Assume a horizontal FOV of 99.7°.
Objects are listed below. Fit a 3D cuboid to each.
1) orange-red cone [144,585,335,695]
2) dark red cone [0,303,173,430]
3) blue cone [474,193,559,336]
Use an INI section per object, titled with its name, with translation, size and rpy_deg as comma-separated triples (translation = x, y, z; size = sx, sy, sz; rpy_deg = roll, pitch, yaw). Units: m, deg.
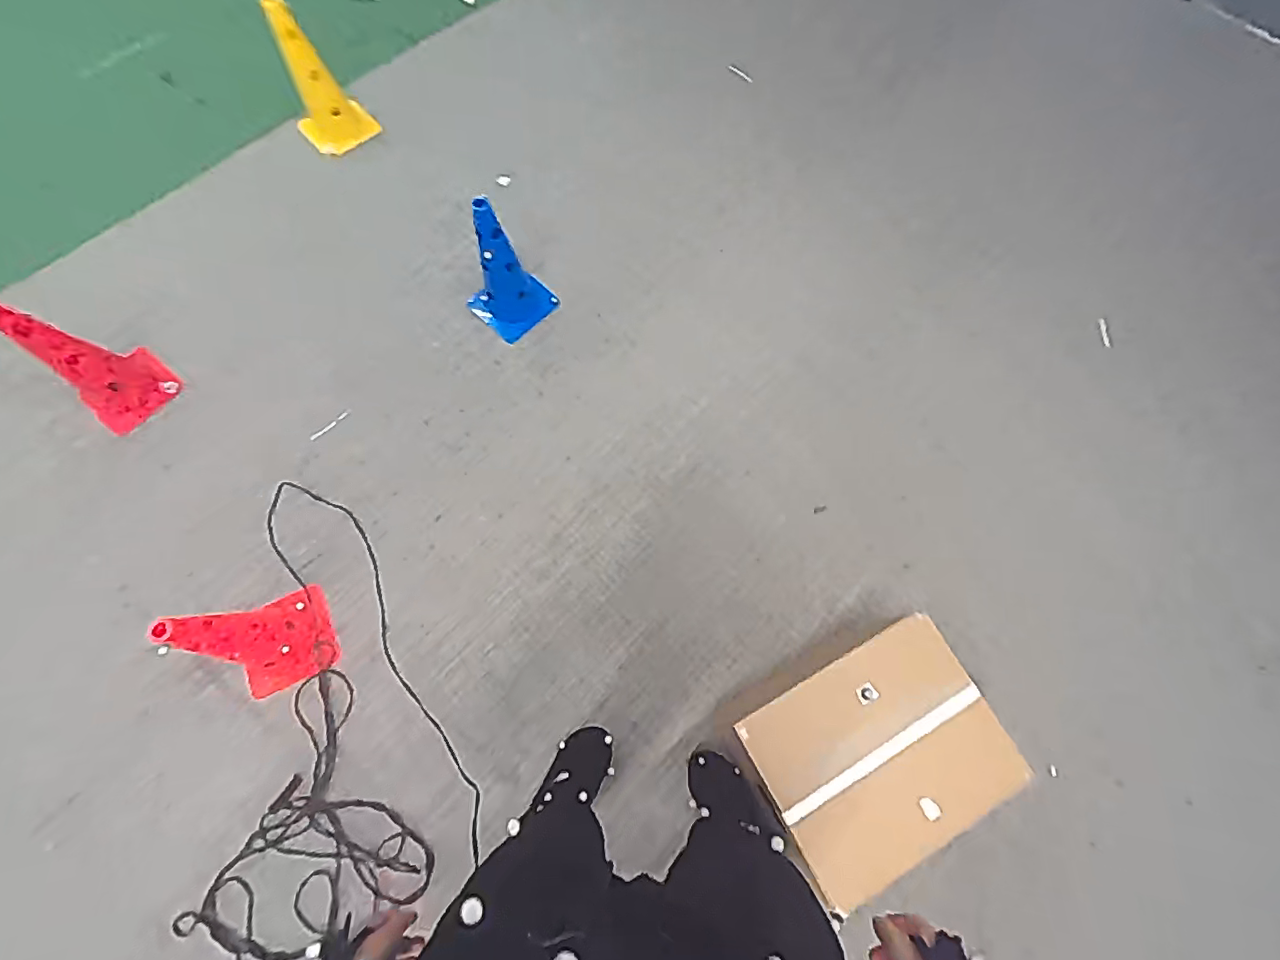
[orange-red cone]
translation = -0.805, 0.300, 1.062
size = 0.199, 0.360, 0.198
rpy_deg = -24, 71, -7
[dark red cone]
translation = -1.351, -0.302, 1.258
size = 0.201, 0.394, 0.202
rpy_deg = 35, 74, 15
[blue cone]
translation = -0.355, -0.565, 1.391
size = 0.192, 0.380, 0.193
rpy_deg = -43, 76, -14
